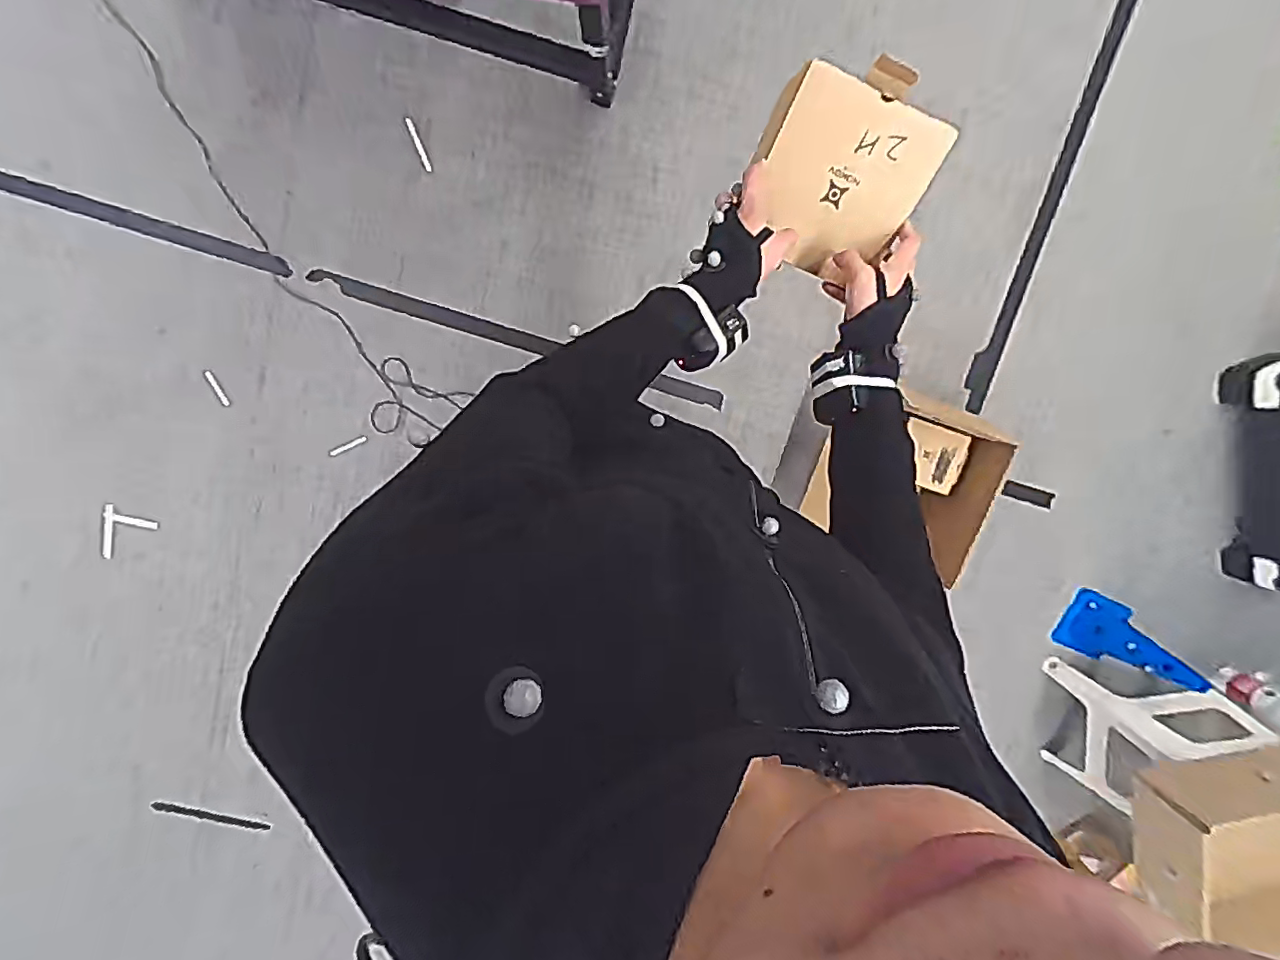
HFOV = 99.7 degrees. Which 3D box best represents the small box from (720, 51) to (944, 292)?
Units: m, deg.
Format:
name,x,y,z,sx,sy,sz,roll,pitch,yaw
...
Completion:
name,x,y,z,sx,sy,sz,roll,pitch,yaw
small box,0.203,-0.346,0.633,0.168,0.176,0.179,21,117,-7
